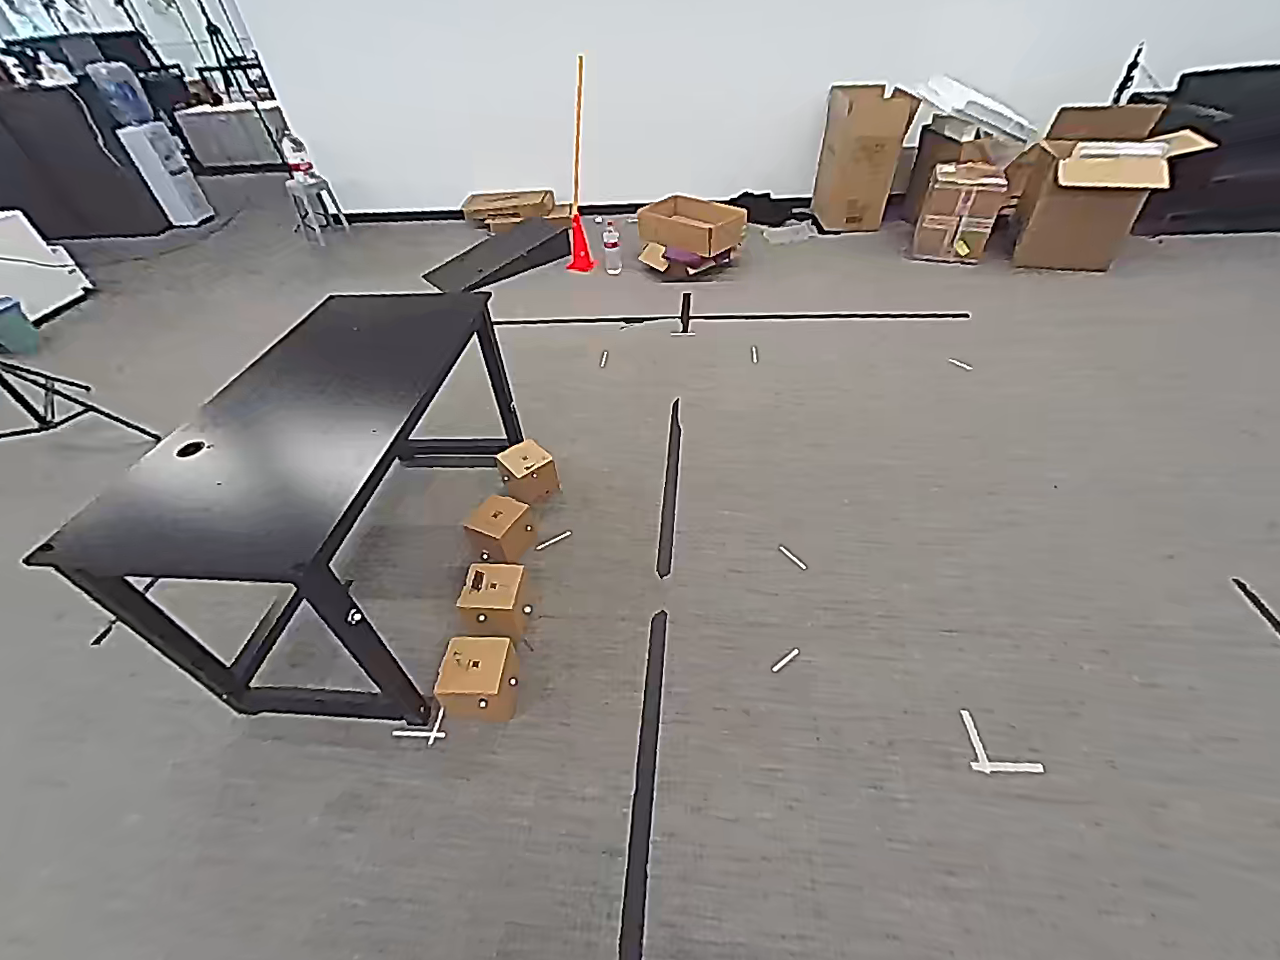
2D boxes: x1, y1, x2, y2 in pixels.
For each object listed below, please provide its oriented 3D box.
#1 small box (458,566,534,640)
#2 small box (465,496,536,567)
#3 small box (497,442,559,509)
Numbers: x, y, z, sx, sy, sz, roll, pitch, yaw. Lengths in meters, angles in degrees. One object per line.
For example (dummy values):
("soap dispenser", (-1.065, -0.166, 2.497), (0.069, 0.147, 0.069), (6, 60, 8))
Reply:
("small box", (-0.453, 0.394, 1.725), (0.179, 0.176, 0.168), (1, 44, 4))
("small box", (-0.493, 0.192, 1.946), (0.168, 0.176, 0.179), (16, 48, 21))
("small box", (-0.444, -0.017, 2.160), (0.168, 0.176, 0.179), (-33, 50, -27))
